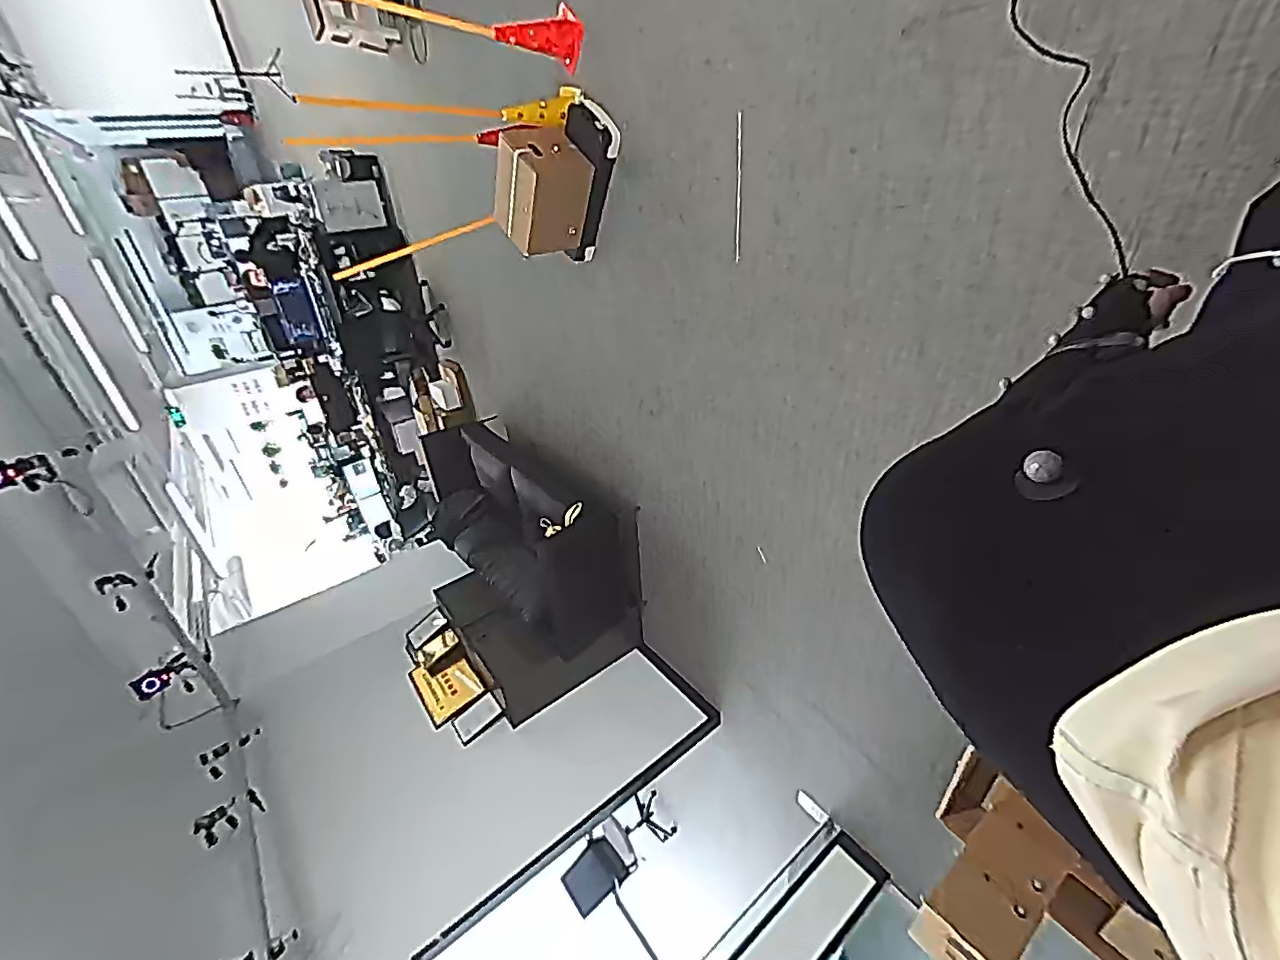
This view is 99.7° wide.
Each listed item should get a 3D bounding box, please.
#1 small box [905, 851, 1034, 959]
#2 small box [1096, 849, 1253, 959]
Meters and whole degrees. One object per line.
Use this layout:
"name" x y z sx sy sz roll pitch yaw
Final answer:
"small box" 0.717 0.963 1.177 0.168 0.176 0.179 34 138 44
"small box" 1.139 0.950 1.155 0.179 0.176 0.168 34 137 45
